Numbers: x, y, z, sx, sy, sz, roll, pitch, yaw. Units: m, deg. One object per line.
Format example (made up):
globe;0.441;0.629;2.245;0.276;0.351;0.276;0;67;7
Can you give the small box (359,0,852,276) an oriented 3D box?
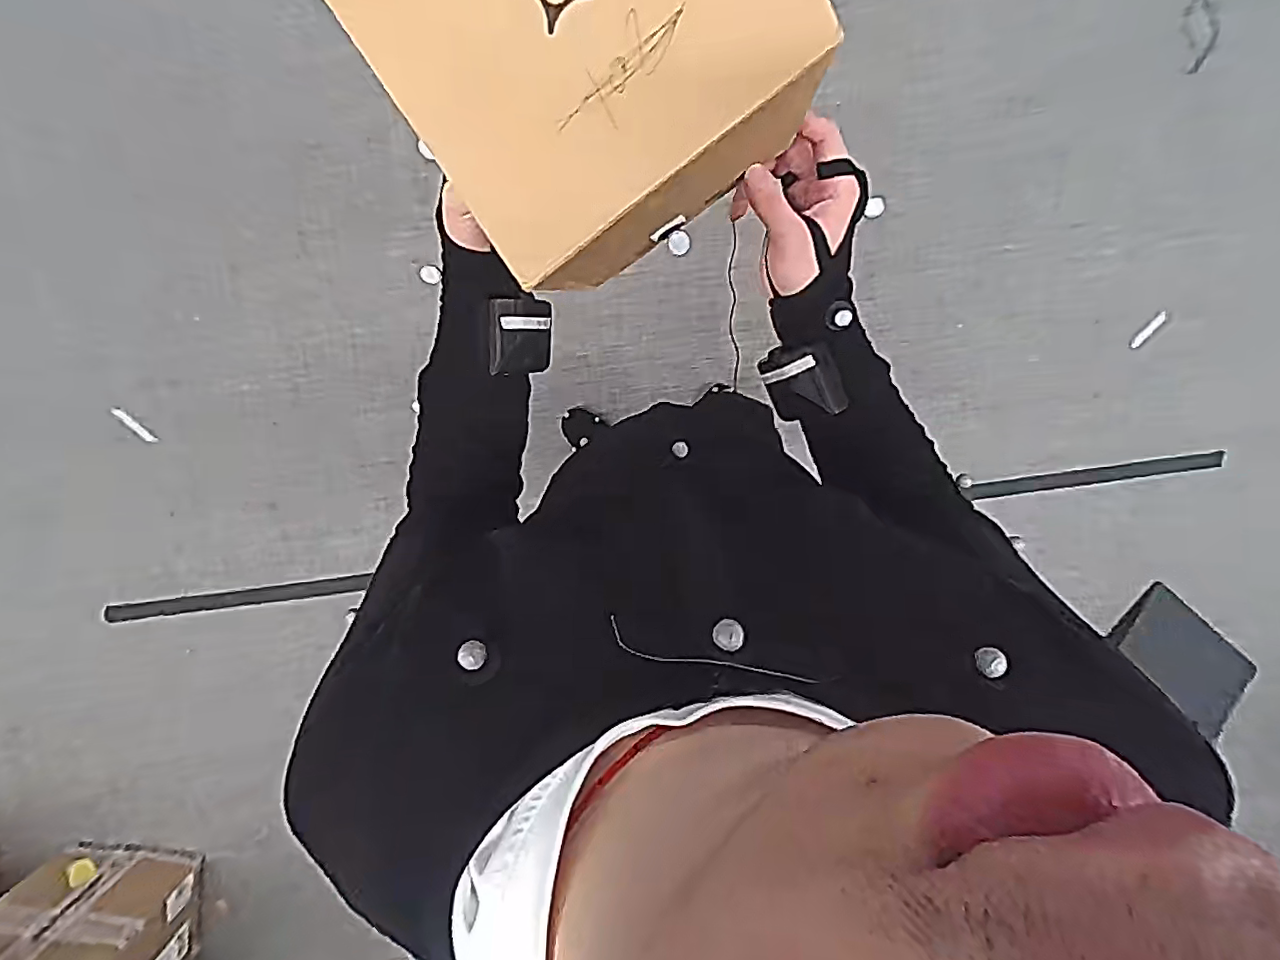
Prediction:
small box;-0.016;-0.232;0.299;0.168;0.176;0.179;-32;102;17
